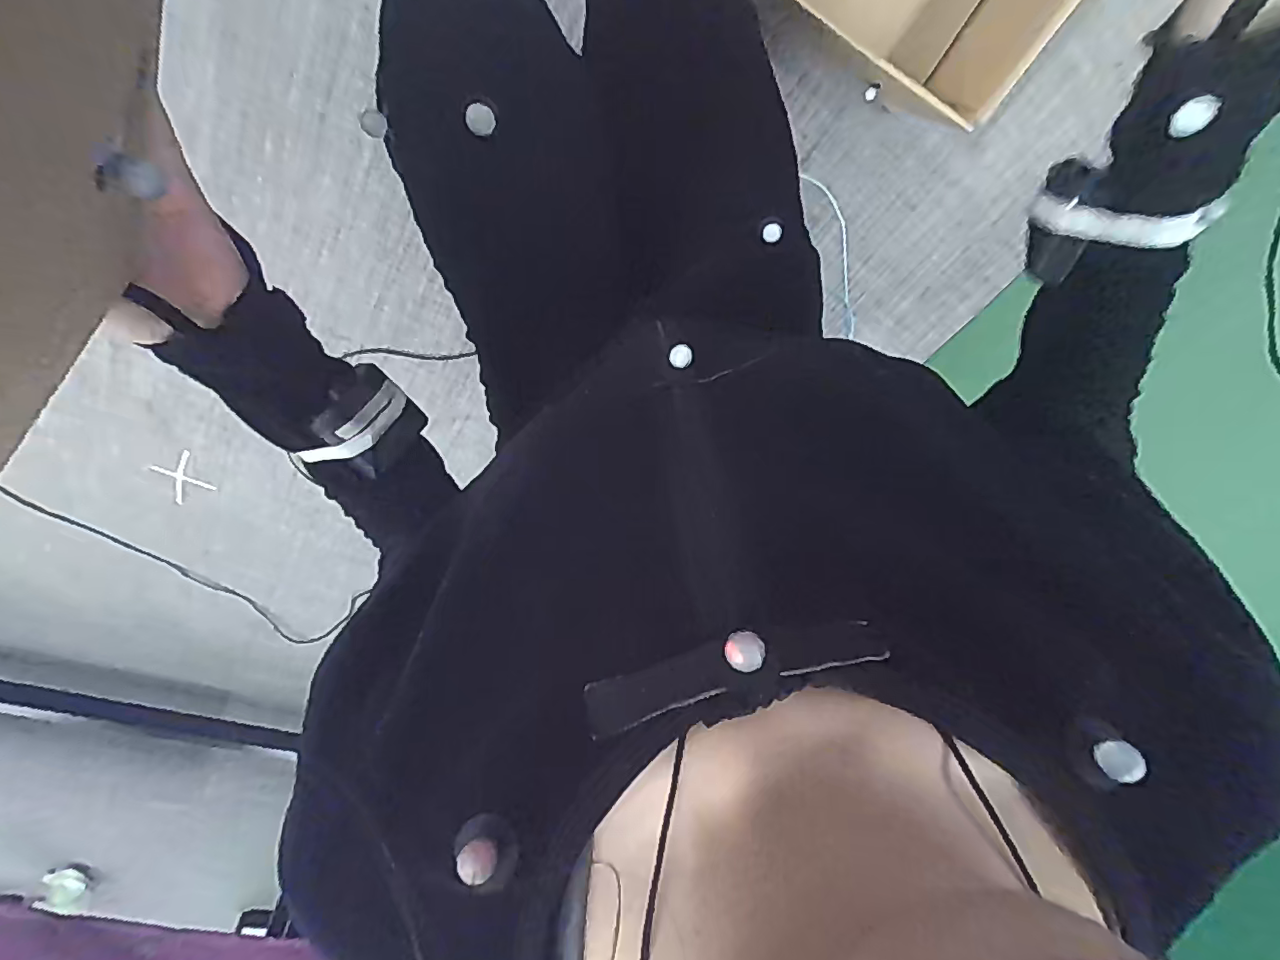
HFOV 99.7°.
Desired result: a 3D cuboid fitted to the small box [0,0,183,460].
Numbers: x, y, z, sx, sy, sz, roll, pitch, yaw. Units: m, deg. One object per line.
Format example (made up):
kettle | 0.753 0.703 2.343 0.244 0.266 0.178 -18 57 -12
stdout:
small box | -0.257 -0.112 0.136 0.179 0.176 0.168 16 132 -35
